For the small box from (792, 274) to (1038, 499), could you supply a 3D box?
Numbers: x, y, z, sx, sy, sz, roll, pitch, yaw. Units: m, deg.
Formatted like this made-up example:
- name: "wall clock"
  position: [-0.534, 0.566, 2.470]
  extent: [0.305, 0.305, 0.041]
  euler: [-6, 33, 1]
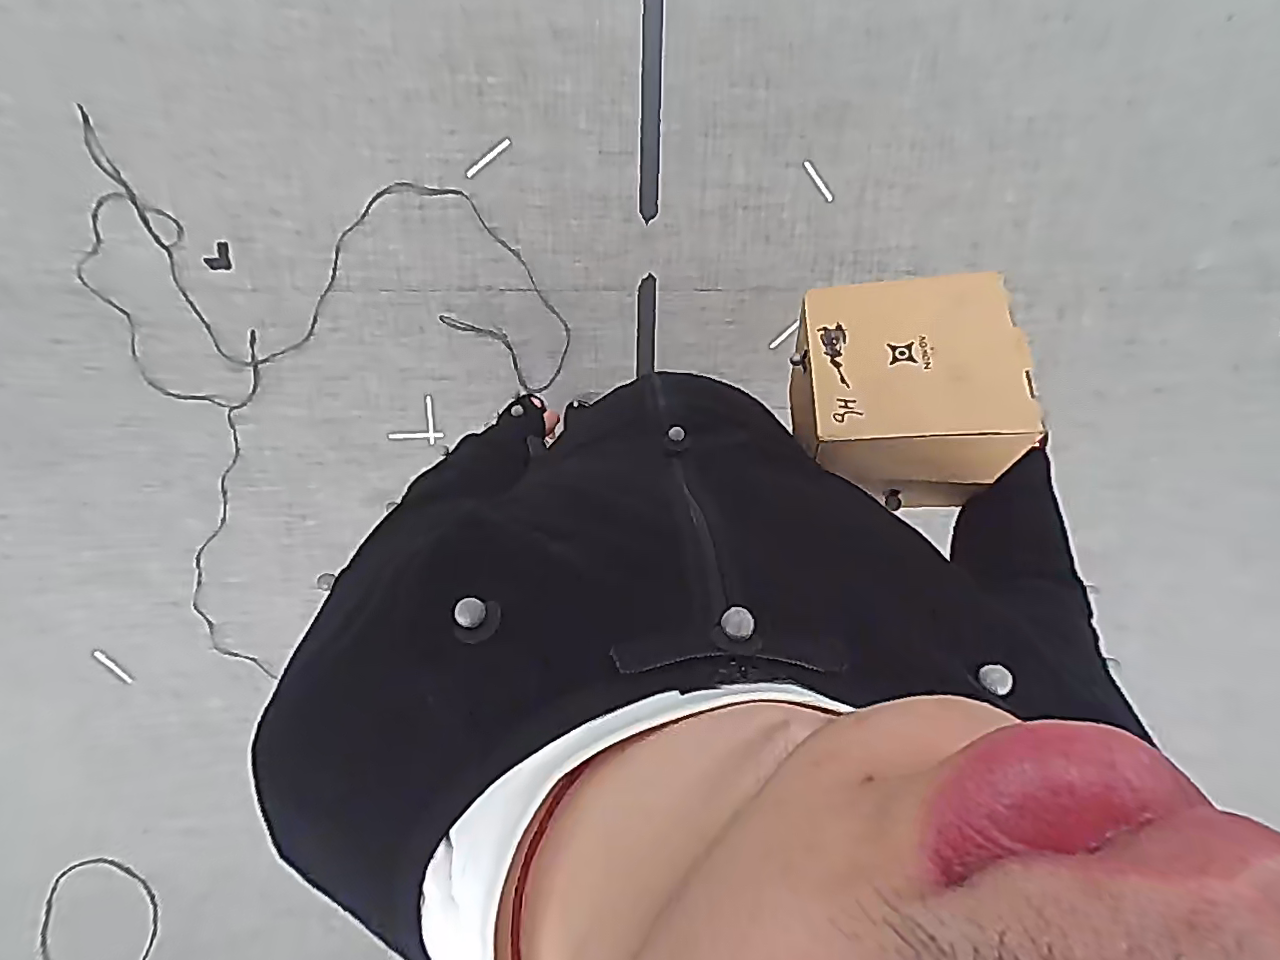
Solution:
- name: "small box"
  position: [0.260, -0.085, 0.561]
  extent: [0.179, 0.176, 0.168]
  euler: [-2, 66, 10]
